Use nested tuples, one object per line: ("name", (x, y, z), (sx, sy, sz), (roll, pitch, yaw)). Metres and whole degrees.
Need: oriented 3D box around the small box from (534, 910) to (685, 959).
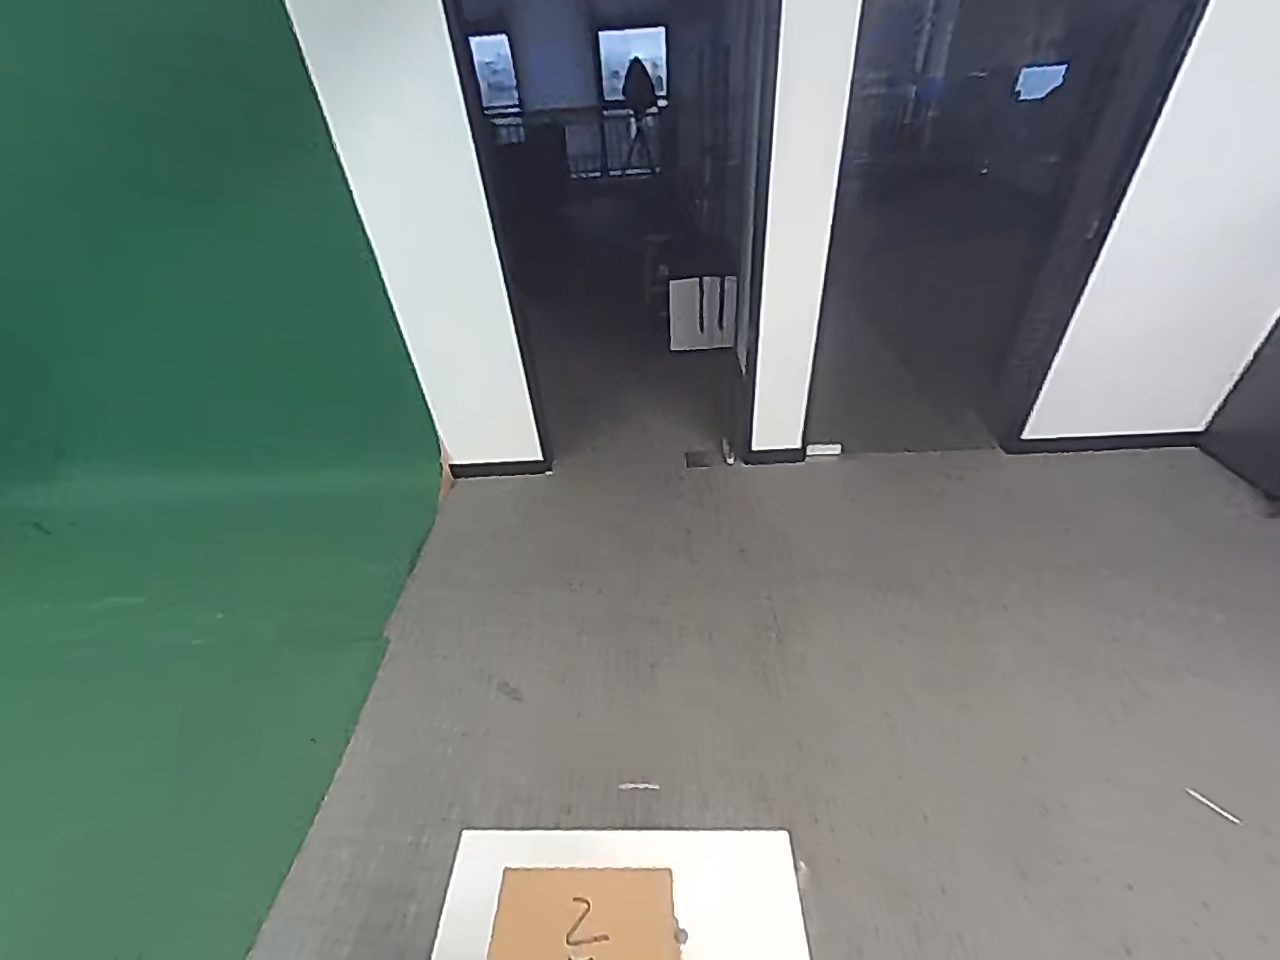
("small box", (-0.032, 0.608, 0.592), (0.168, 0.176, 0.179), (-2, 37, 3))
